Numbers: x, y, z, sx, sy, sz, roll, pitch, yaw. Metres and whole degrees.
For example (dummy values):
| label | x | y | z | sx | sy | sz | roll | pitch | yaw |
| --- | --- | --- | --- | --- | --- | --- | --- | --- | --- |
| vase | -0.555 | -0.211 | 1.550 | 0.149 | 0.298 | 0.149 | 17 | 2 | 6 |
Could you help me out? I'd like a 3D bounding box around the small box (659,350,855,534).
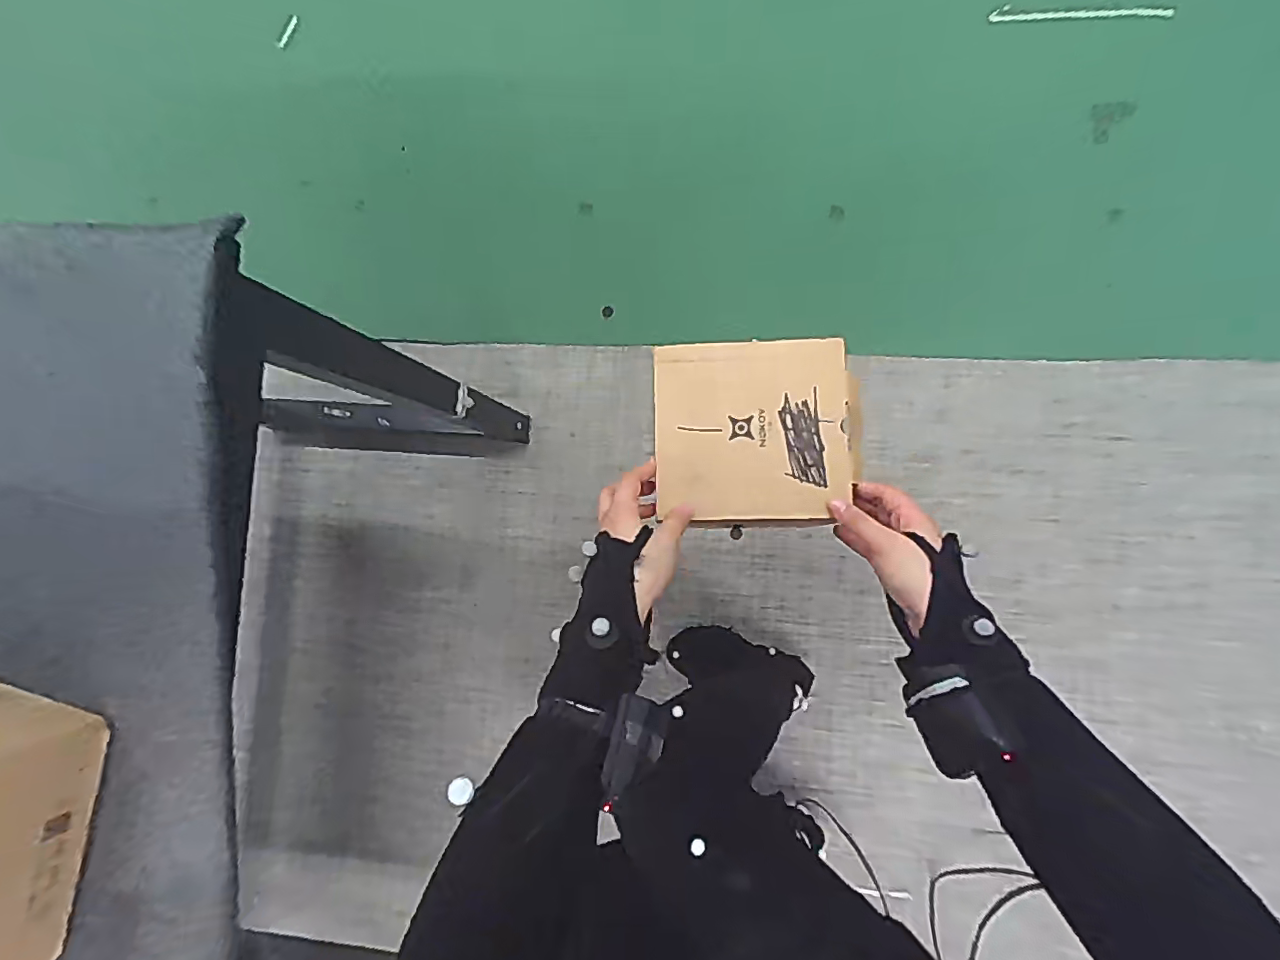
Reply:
| label | x | y | z | sx | sy | sz | roll | pitch | yaw |
| --- | --- | --- | --- | --- | --- | --- | --- | --- | --- |
| small box | 0.110 | -0.029 | 0.571 | 0.179 | 0.176 | 0.168 | -1 | 83 | 5 |
